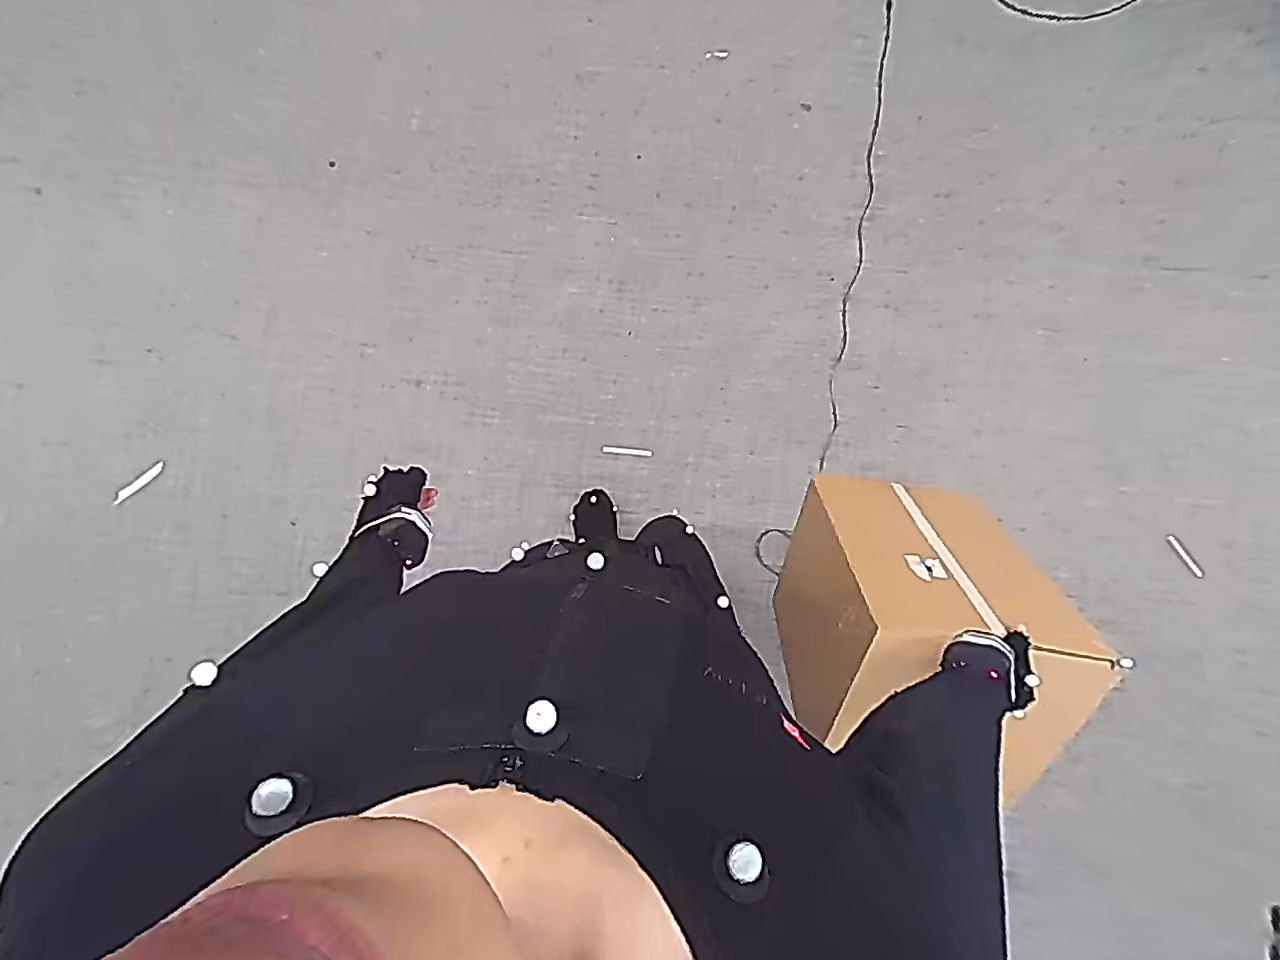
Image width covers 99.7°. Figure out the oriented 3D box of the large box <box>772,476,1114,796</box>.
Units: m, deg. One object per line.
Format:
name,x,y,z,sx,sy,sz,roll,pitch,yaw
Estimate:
large box,0.442,0.241,0.927,0.320,0.408,0.320,9,120,0
